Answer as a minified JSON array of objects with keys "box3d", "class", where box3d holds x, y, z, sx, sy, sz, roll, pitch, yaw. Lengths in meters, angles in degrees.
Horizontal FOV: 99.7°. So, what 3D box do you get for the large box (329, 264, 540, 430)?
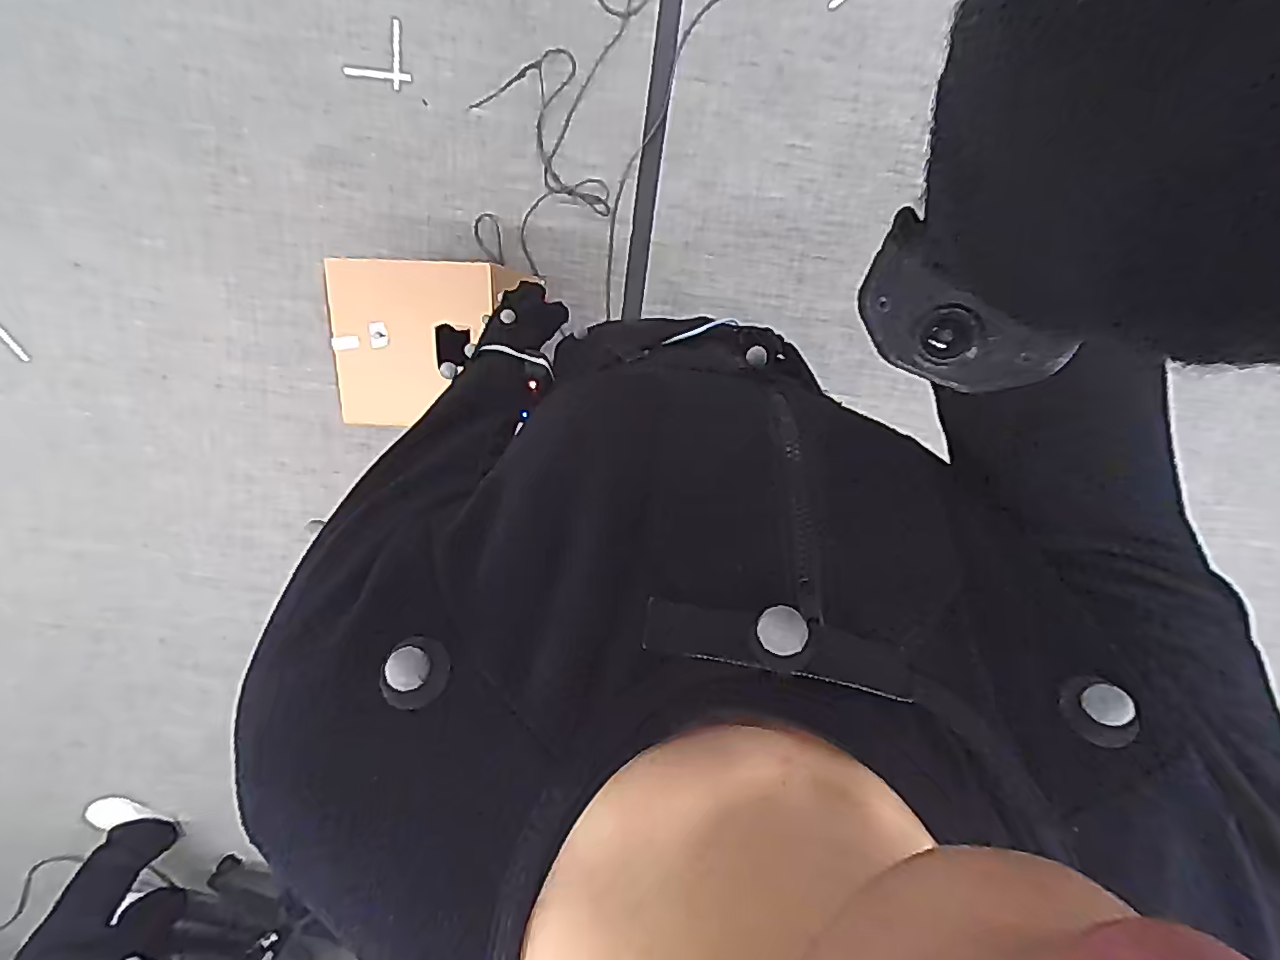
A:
[{"box3d":[-0.426,-0.311,1.221,0.320,0.408,0.320,4,107,1],"class":"large box"}]
